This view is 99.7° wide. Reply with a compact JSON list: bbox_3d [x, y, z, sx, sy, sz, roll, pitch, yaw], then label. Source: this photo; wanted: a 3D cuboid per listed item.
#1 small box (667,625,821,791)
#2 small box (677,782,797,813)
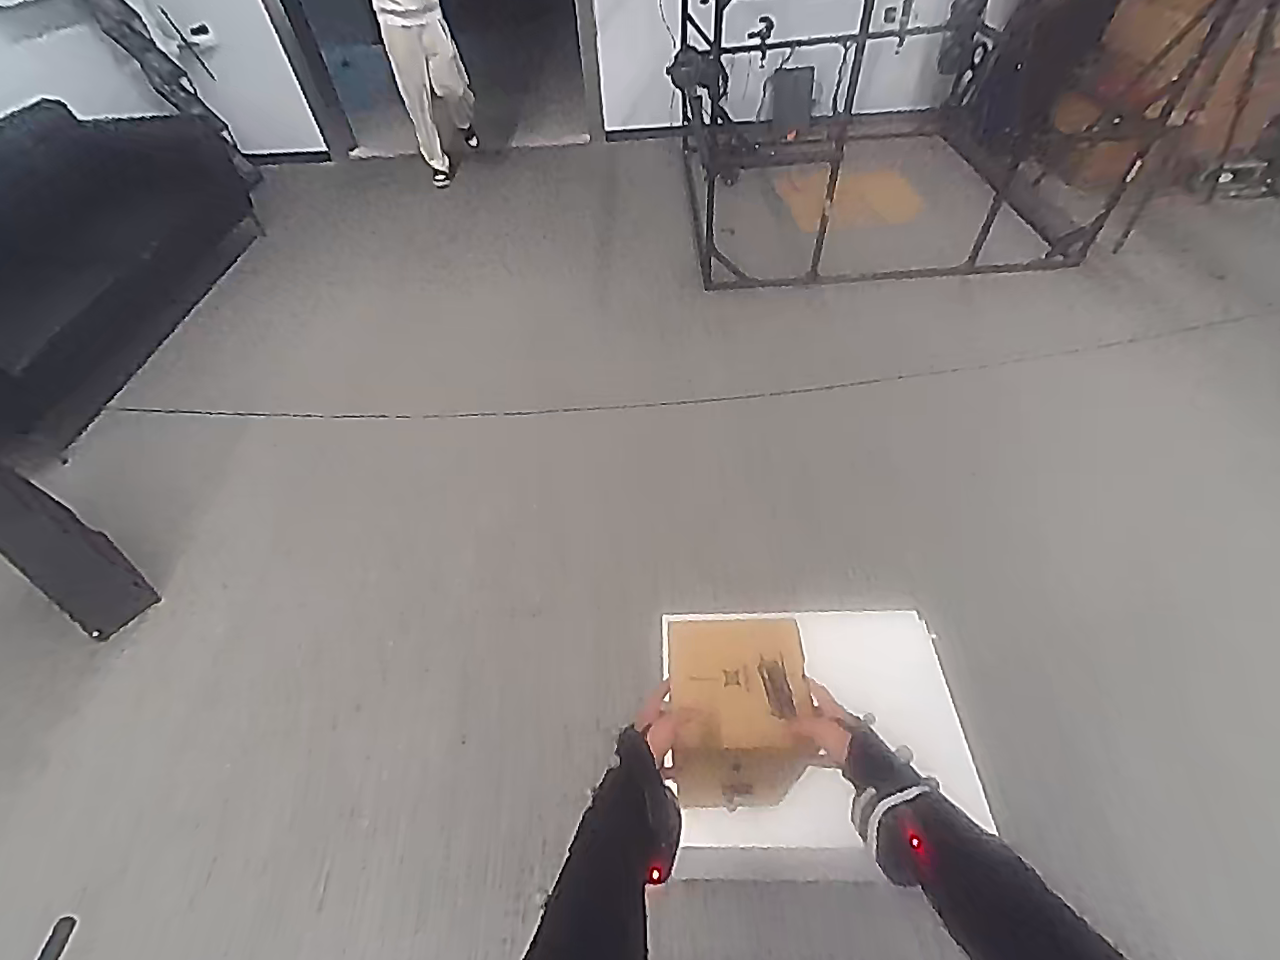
[{"bbox_3d":[0.126,0.308,0.729,0.179,0.176,0.168,-3,49,3],"label":"small box"},{"bbox_3d":[0.139,0.411,0.857,0.168,0.176,0.179,-3,49,3],"label":"small box"}]
